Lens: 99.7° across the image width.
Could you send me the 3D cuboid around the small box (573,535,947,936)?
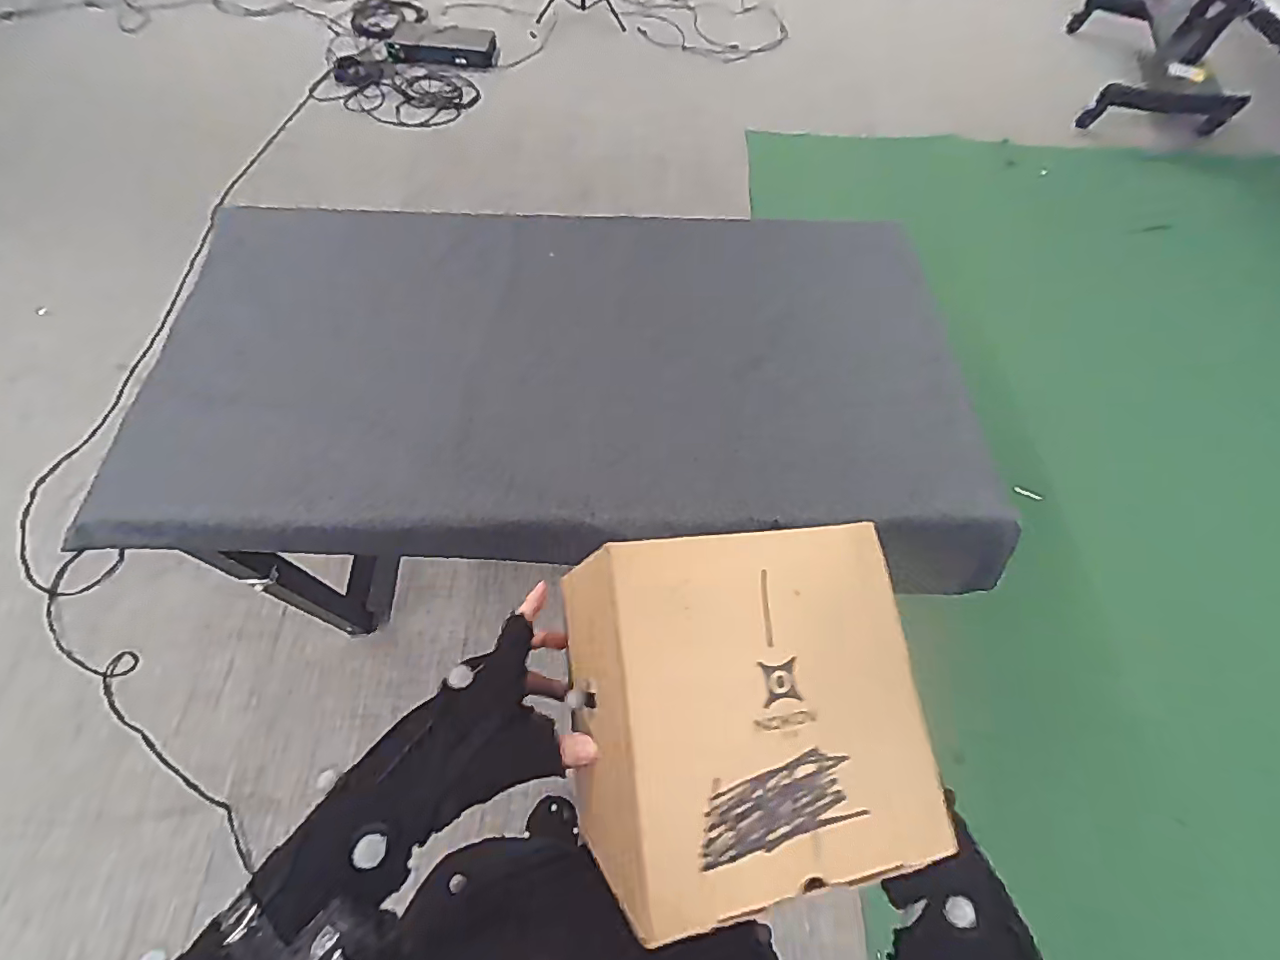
[{"bbox_3d":[0.053,0.140,0.357,0.168,0.176,0.179,-2,73,-17],"label":"small box"}]
